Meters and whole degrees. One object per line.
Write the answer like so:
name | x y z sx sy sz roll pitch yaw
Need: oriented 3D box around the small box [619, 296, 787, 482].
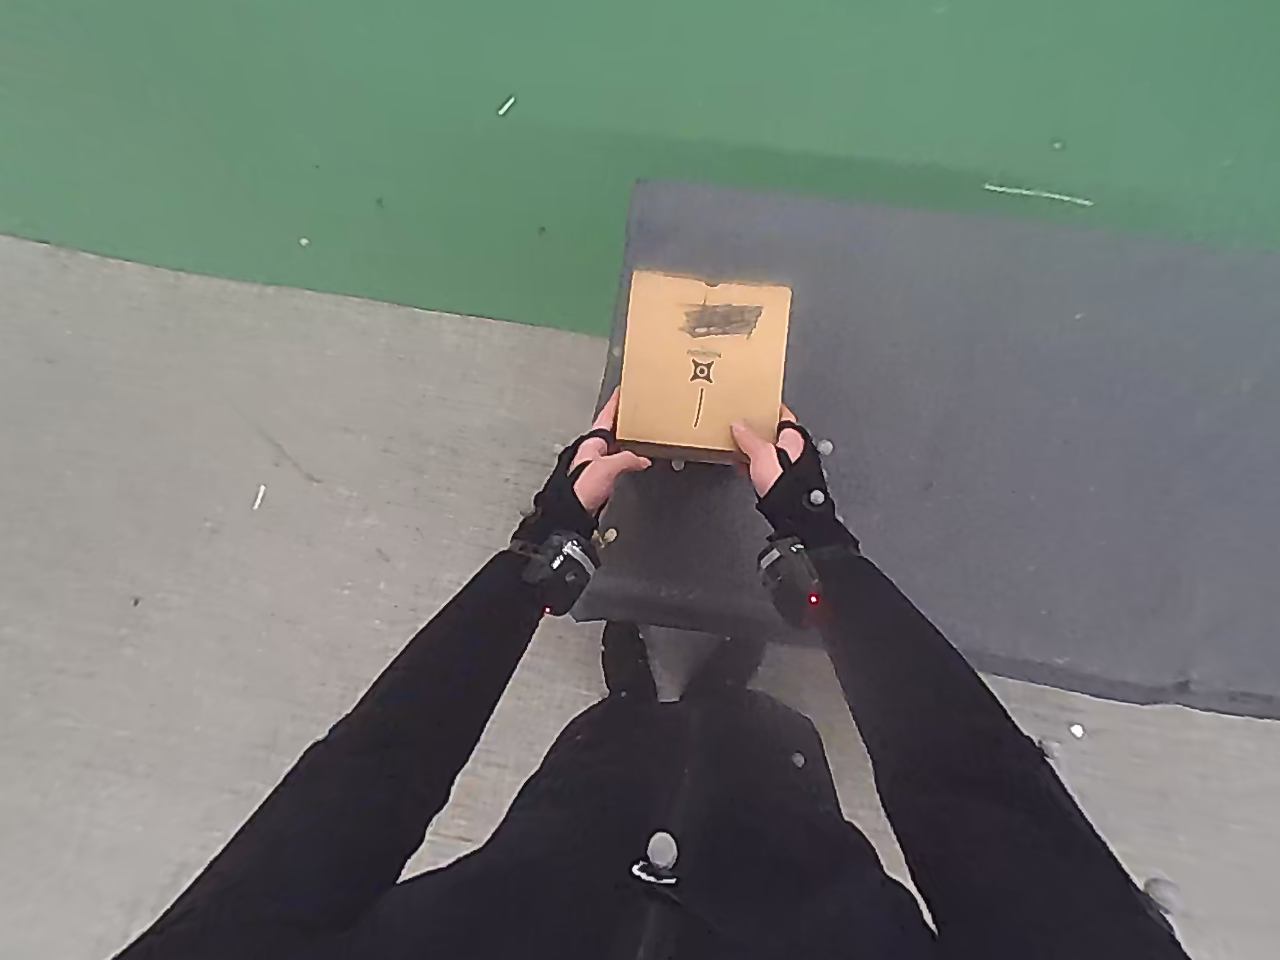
small box | 0.064 -0.095 0.642 0.168 0.176 0.179 5 87 -1
